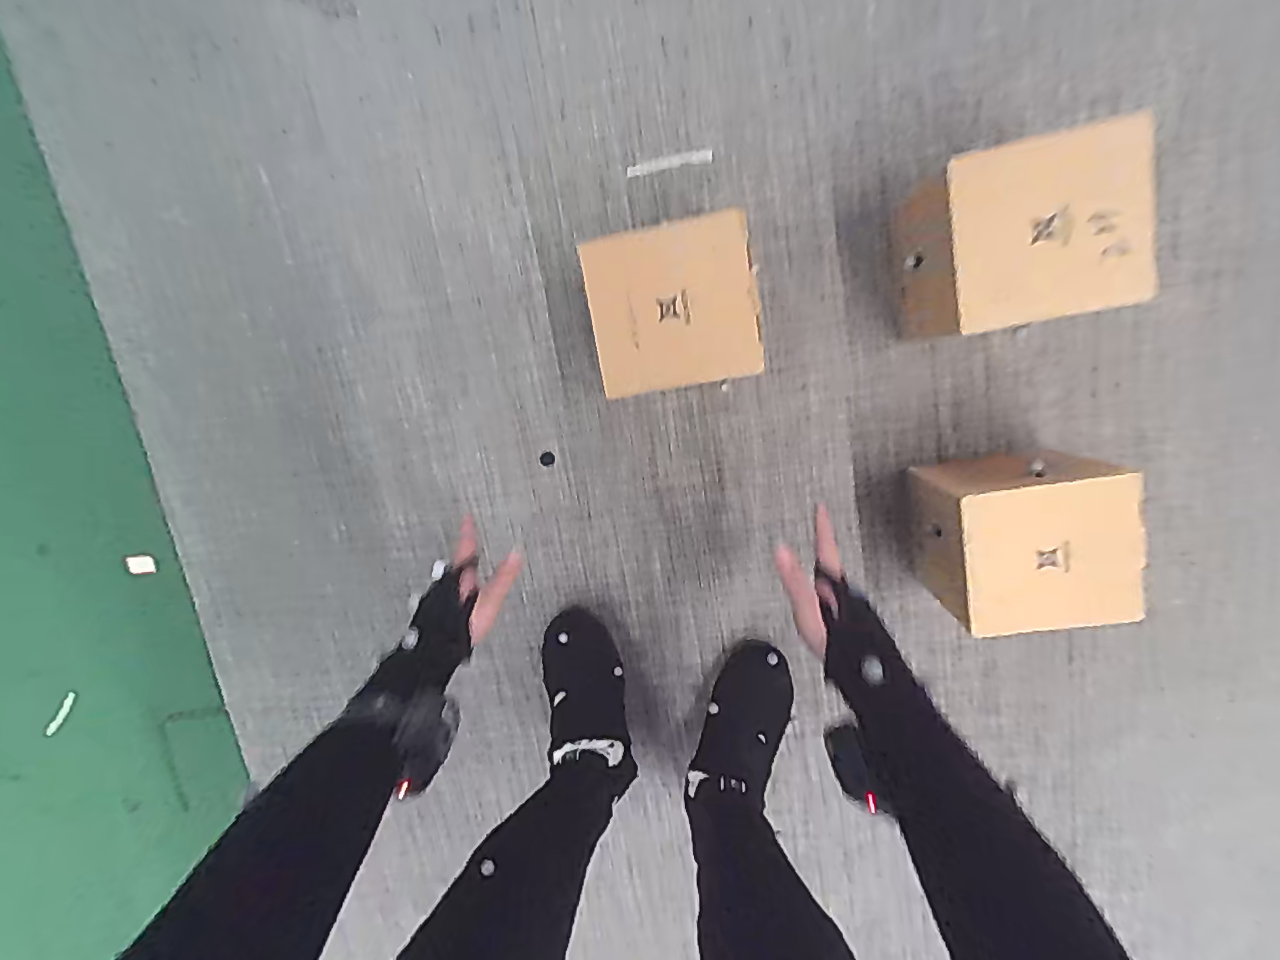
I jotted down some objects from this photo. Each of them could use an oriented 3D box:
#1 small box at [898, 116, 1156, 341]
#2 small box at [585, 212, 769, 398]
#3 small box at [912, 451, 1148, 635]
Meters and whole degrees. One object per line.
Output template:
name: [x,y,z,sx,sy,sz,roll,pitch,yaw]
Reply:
small box: [0.397,-0.250,0.587,0.179,0.176,0.168,-9,100,8]
small box: [0.047,-0.195,0.642,0.179,0.176,0.168,-8,99,9]
small box: [0.444,0.066,0.647,0.179,0.176,0.168,-9,100,8]
